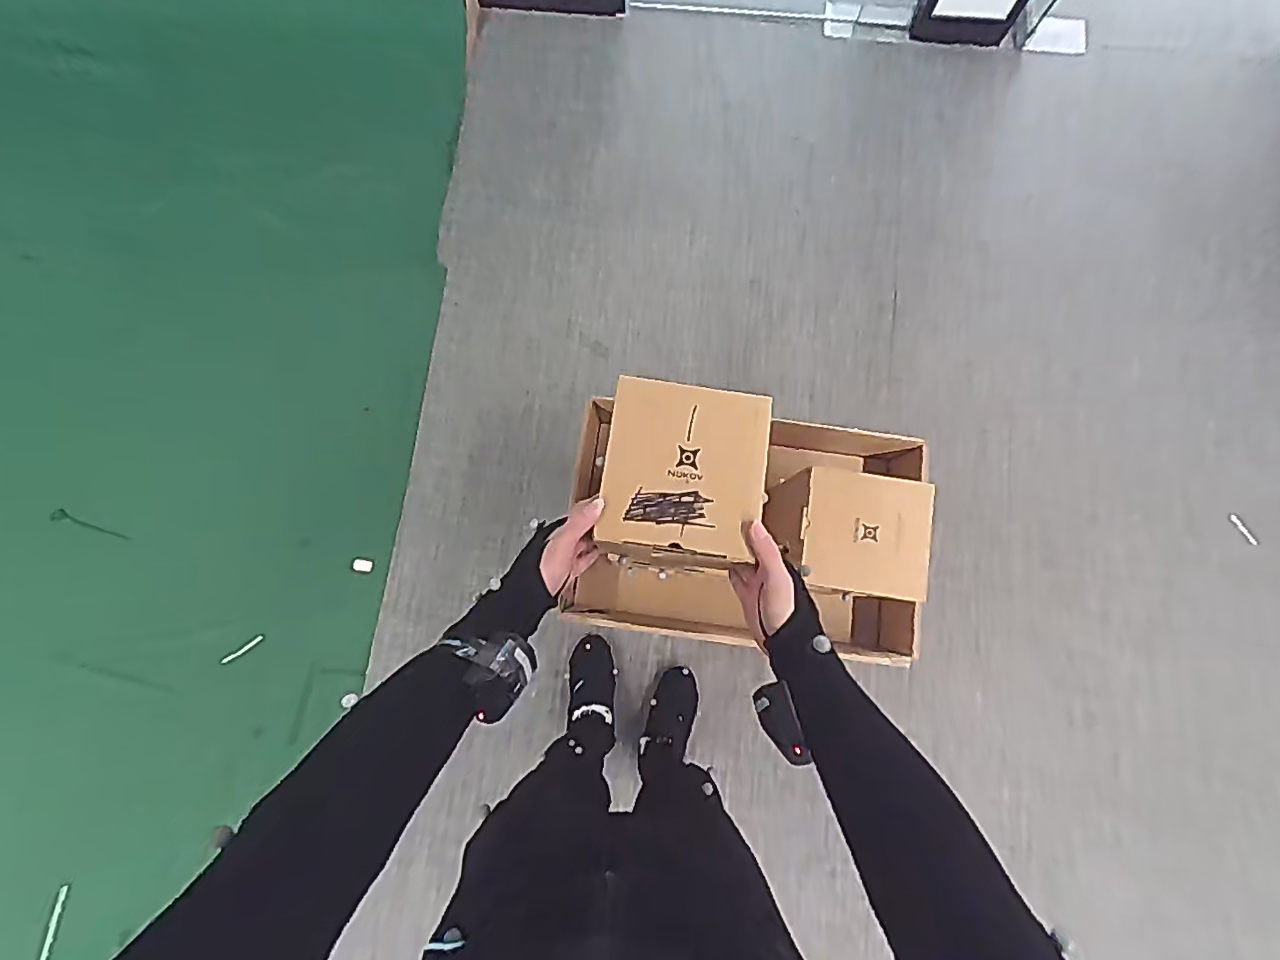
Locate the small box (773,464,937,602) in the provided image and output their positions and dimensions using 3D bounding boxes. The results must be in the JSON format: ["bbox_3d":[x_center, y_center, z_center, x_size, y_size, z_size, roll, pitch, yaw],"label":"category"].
[{"bbox_3d":[0.311,0.084,0.813,0.179,0.176,0.168,9,81,0],"label":"small box"}]

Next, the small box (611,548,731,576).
[{"bbox_3d":[0.051,0.046,0.815,0.168,0.176,0.179,8,80,1],"label":"small box"}]

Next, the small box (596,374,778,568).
[{"bbox_3d":[0.047,0.003,0.622,0.168,0.176,0.179,9,77,-1],"label":"small box"}]
